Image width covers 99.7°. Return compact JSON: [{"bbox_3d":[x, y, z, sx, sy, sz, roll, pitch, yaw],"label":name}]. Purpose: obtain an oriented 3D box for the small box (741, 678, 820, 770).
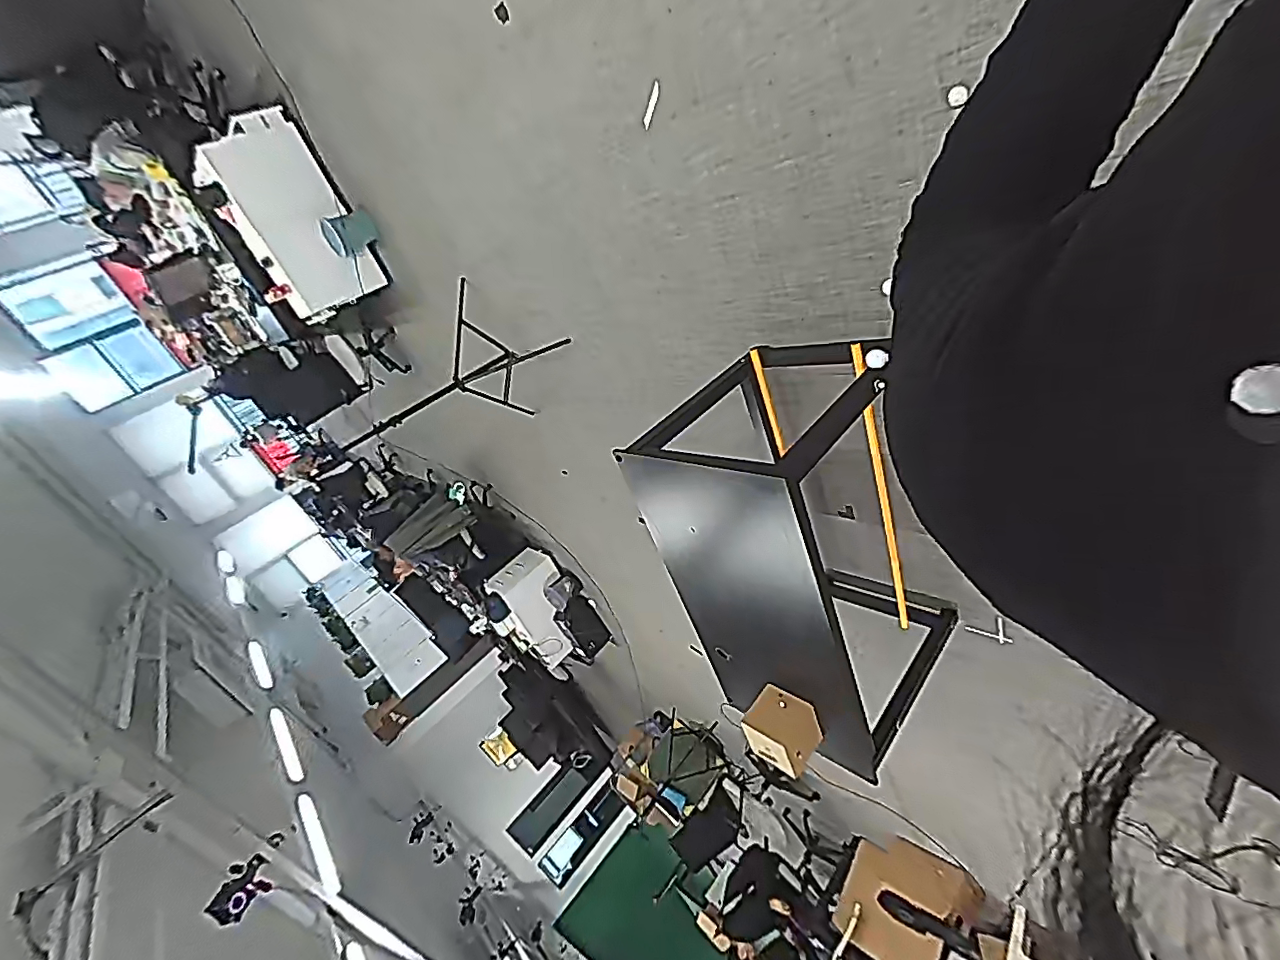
[{"bbox_3d":[0.459,0.781,1.746,0.168,0.176,0.179,12,134,48],"label":"small box"}]
